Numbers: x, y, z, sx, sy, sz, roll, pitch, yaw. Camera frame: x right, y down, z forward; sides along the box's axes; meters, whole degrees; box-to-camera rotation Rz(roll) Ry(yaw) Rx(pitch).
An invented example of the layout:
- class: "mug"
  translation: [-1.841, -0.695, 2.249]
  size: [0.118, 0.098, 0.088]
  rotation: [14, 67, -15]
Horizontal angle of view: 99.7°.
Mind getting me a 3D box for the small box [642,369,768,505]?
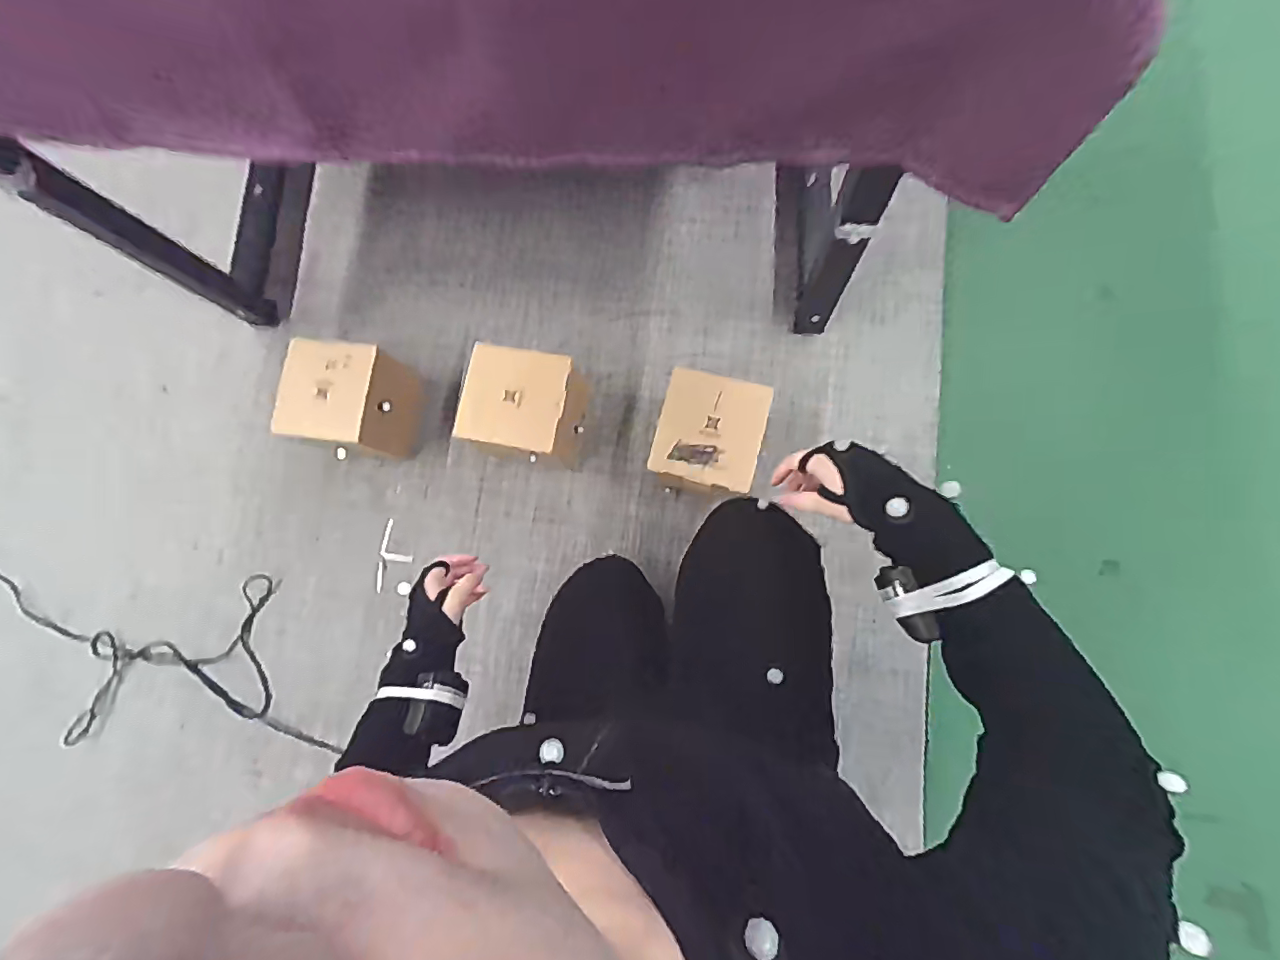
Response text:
- class: "small box"
  translation: [0.112, -0.065, 0.930]
  size: [0.168, 0.176, 0.179]
  rotation: [15, 81, 8]
